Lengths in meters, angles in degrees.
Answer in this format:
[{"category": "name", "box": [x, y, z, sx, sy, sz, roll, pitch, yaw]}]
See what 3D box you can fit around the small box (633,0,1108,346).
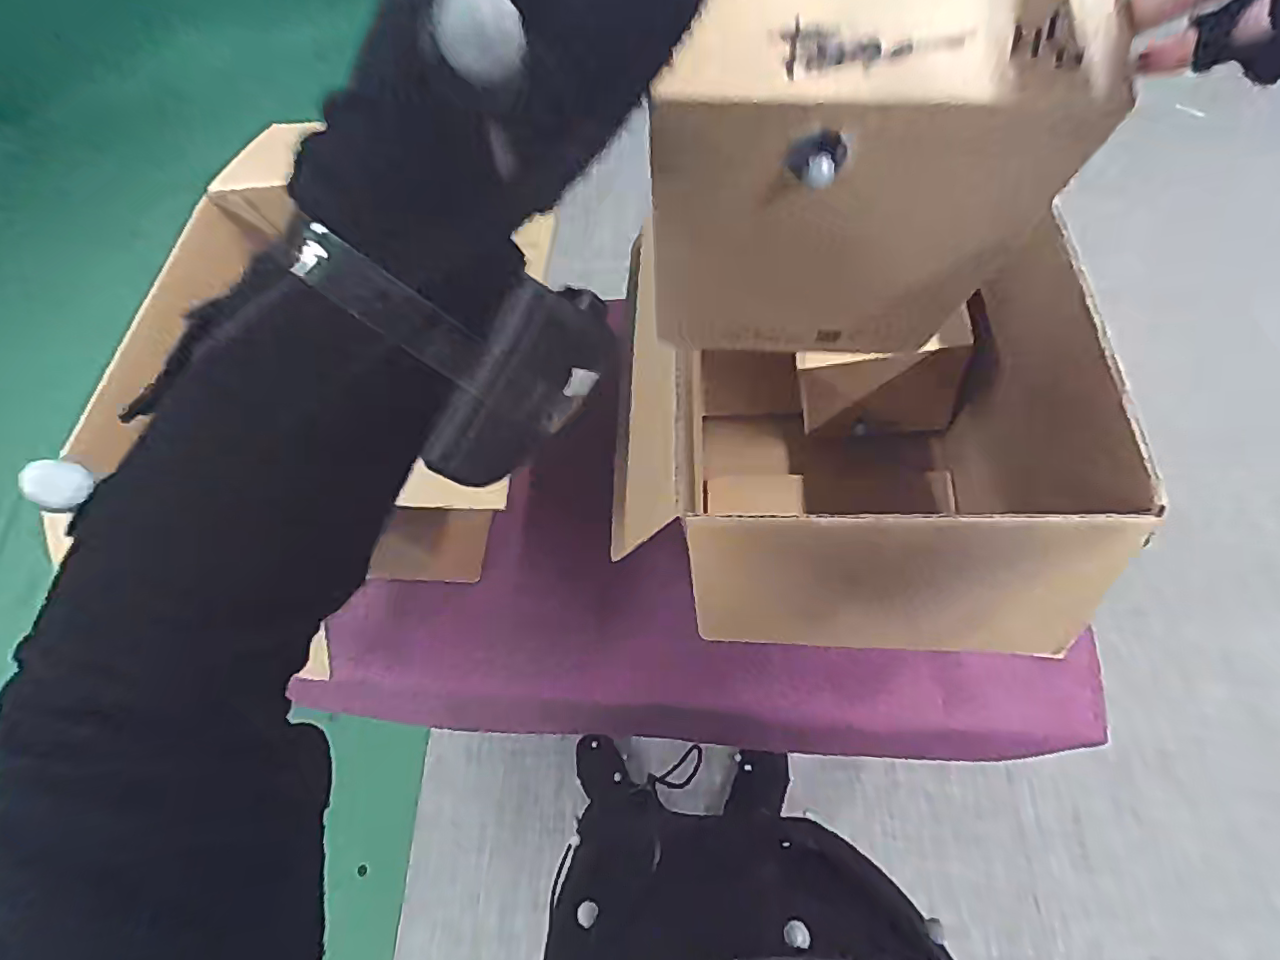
[{"category": "small box", "box": [0.088, -0.195, 0.290, 0.168, 0.176, 0.179, 3, 73, 5]}]
